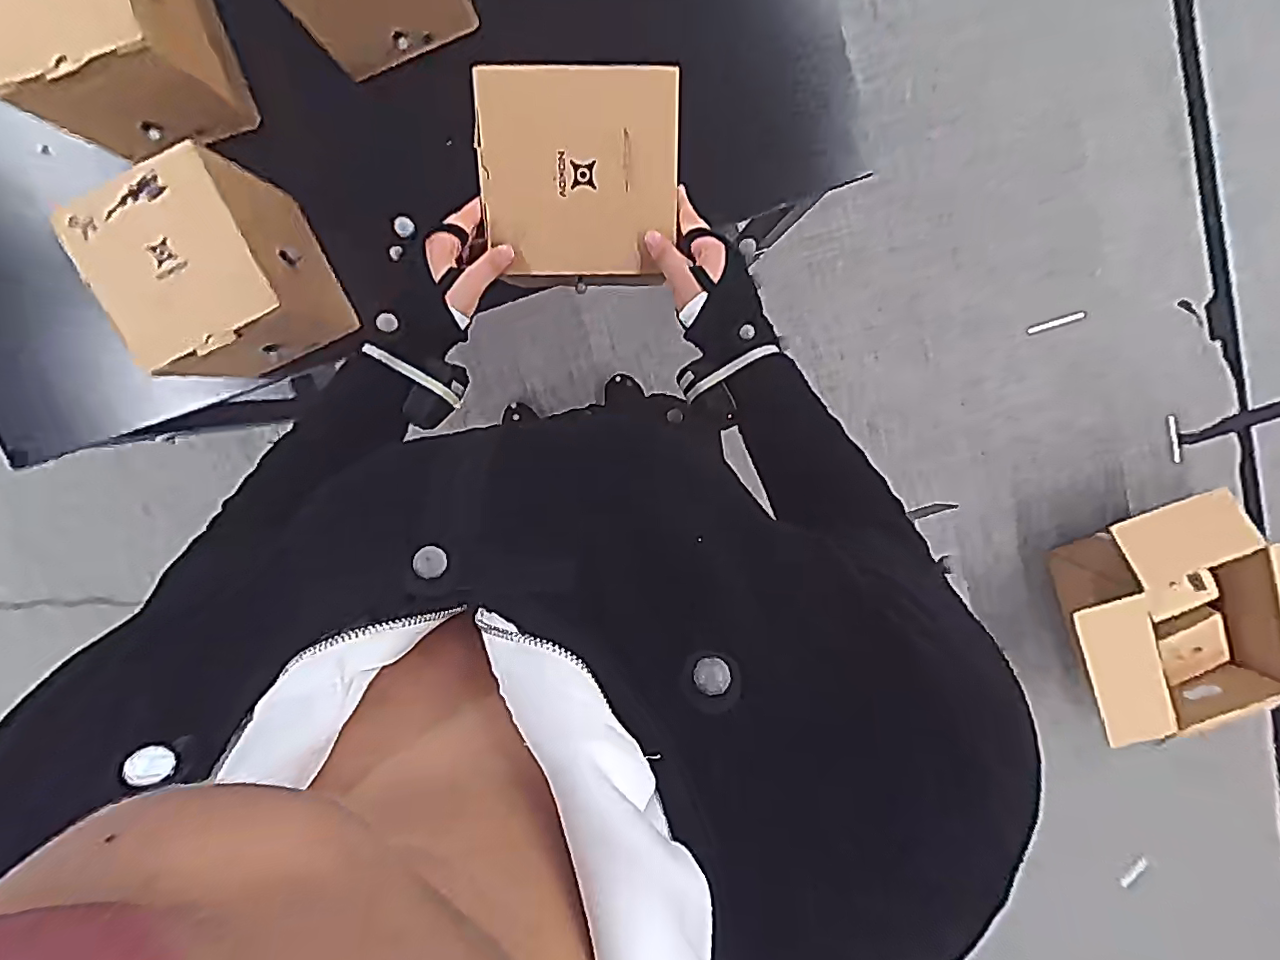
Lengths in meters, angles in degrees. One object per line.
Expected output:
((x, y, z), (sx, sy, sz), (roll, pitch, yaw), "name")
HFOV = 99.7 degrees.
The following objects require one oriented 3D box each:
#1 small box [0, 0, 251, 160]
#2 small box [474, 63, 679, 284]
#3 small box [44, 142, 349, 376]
((-0.571, -0.482, 0.573), (0.168, 0.176, 0.179), (-17, 100, 1), "small box")
((-0.055, -0.293, 0.552), (0.179, 0.176, 0.168), (-1, 107, -2), "small box")
((-0.476, -0.232, 0.617), (0.168, 0.176, 0.179), (-25, 100, 3), "small box")
